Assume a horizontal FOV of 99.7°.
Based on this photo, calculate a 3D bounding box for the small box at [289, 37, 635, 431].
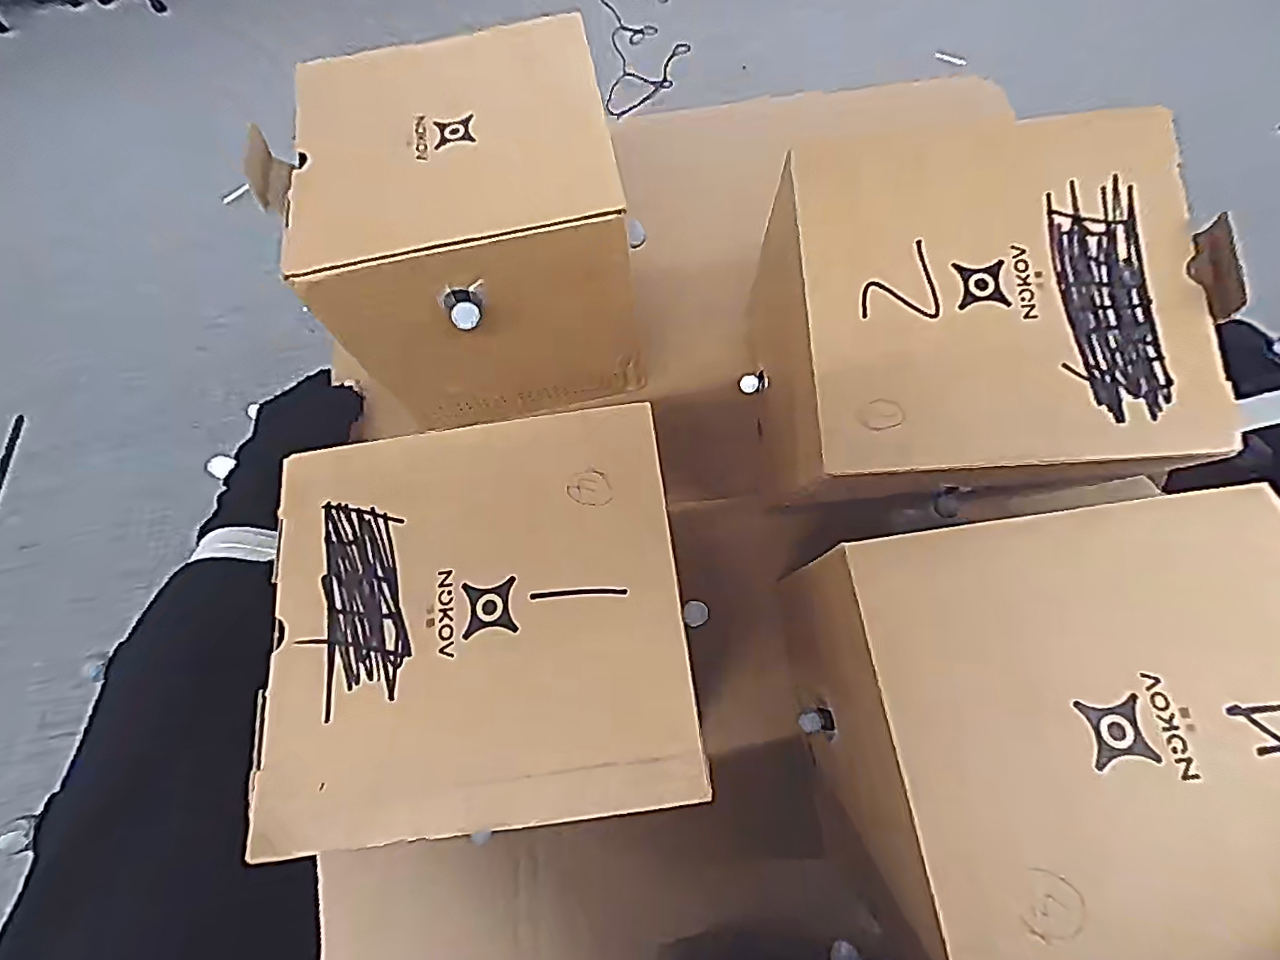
[{"bbox_3d":[-0.102,-0.154,0.379,0.179,0.176,0.168,-12,67,1],"label":"small box"}]
